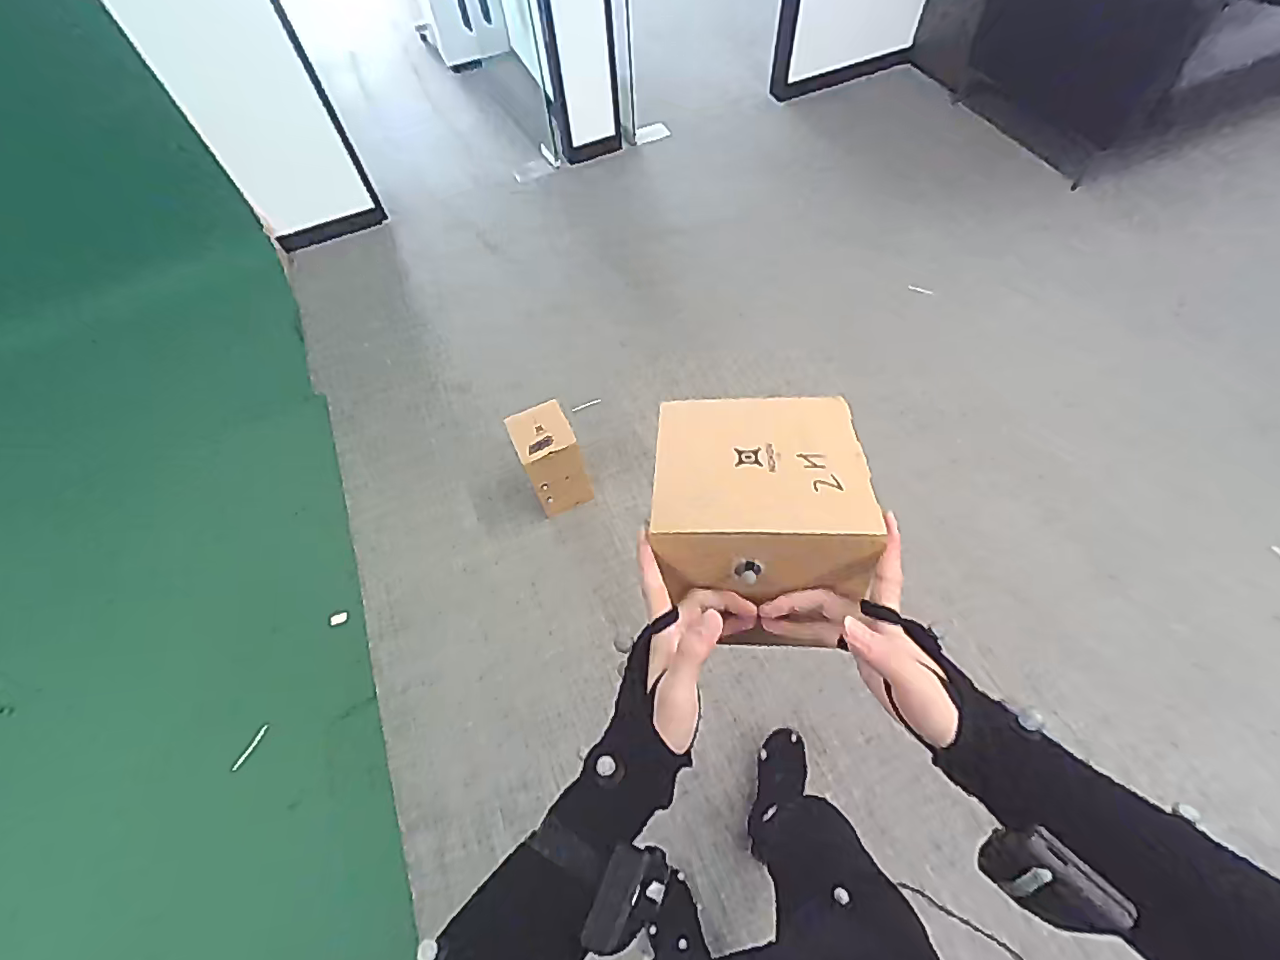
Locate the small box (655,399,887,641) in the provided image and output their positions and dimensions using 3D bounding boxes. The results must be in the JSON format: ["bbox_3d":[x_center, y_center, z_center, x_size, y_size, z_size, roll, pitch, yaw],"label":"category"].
[{"bbox_3d":[0.111,0.039,0.518,0.179,0.176,0.168,1,44,7],"label":"small box"}]

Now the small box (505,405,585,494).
[{"bbox_3d":[-0.272,-0.081,1.587,0.168,0.176,0.179,-24,60,-11],"label":"small box"}]
